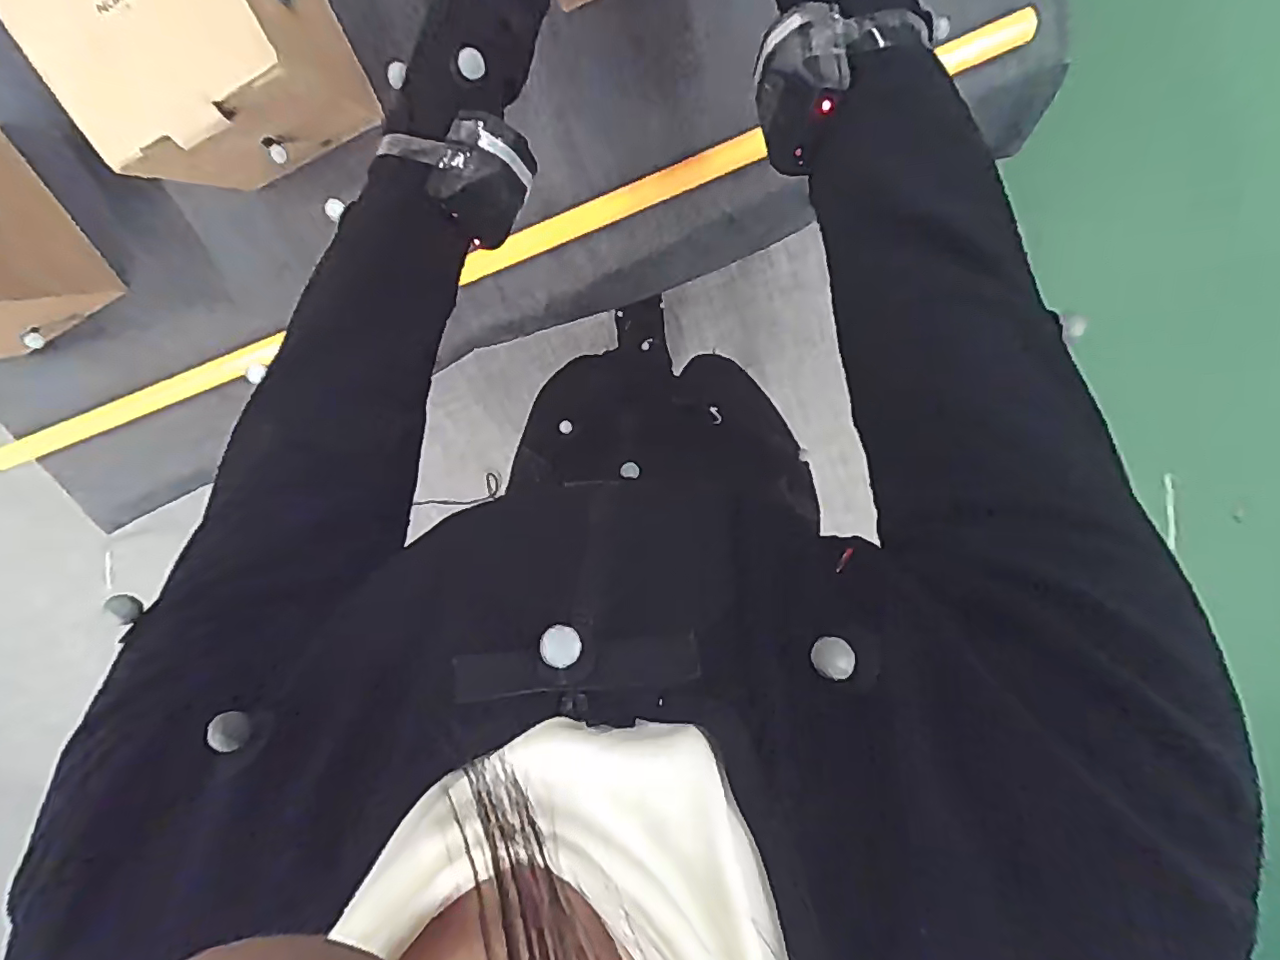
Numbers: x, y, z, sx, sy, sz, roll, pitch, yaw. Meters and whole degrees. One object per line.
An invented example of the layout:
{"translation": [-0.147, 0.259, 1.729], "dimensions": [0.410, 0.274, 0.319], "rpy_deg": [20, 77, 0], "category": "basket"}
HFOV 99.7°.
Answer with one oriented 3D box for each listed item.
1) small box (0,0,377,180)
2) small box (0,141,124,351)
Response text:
{"translation": [-0.358, -0.369, 0.441], "dimensions": [0.168, 0.176, 0.179], "rpy_deg": [-23, 110, 12], "category": "small box"}
{"translation": [-0.672, -0.220, 0.507], "dimensions": [0.168, 0.176, 0.179], "rpy_deg": [-23, 112, 11], "category": "small box"}
